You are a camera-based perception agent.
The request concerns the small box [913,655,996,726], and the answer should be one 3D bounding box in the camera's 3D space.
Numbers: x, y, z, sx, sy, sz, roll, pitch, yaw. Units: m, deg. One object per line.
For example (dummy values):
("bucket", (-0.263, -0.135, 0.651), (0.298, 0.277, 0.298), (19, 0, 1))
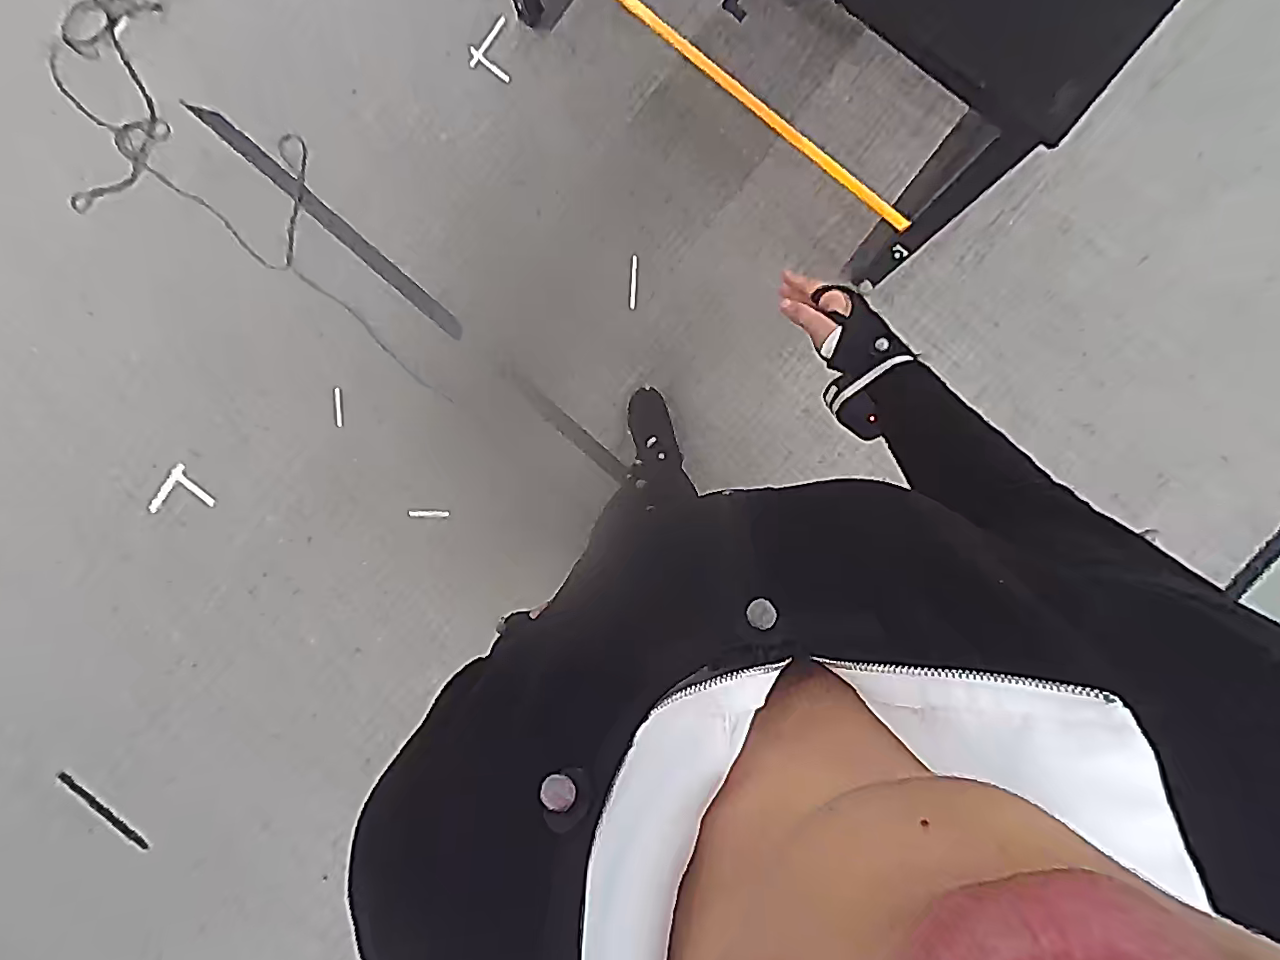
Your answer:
("small box", (0.837, 0.570, 1.368), (0.179, 0.176, 0.168), (42, 95, 2))
